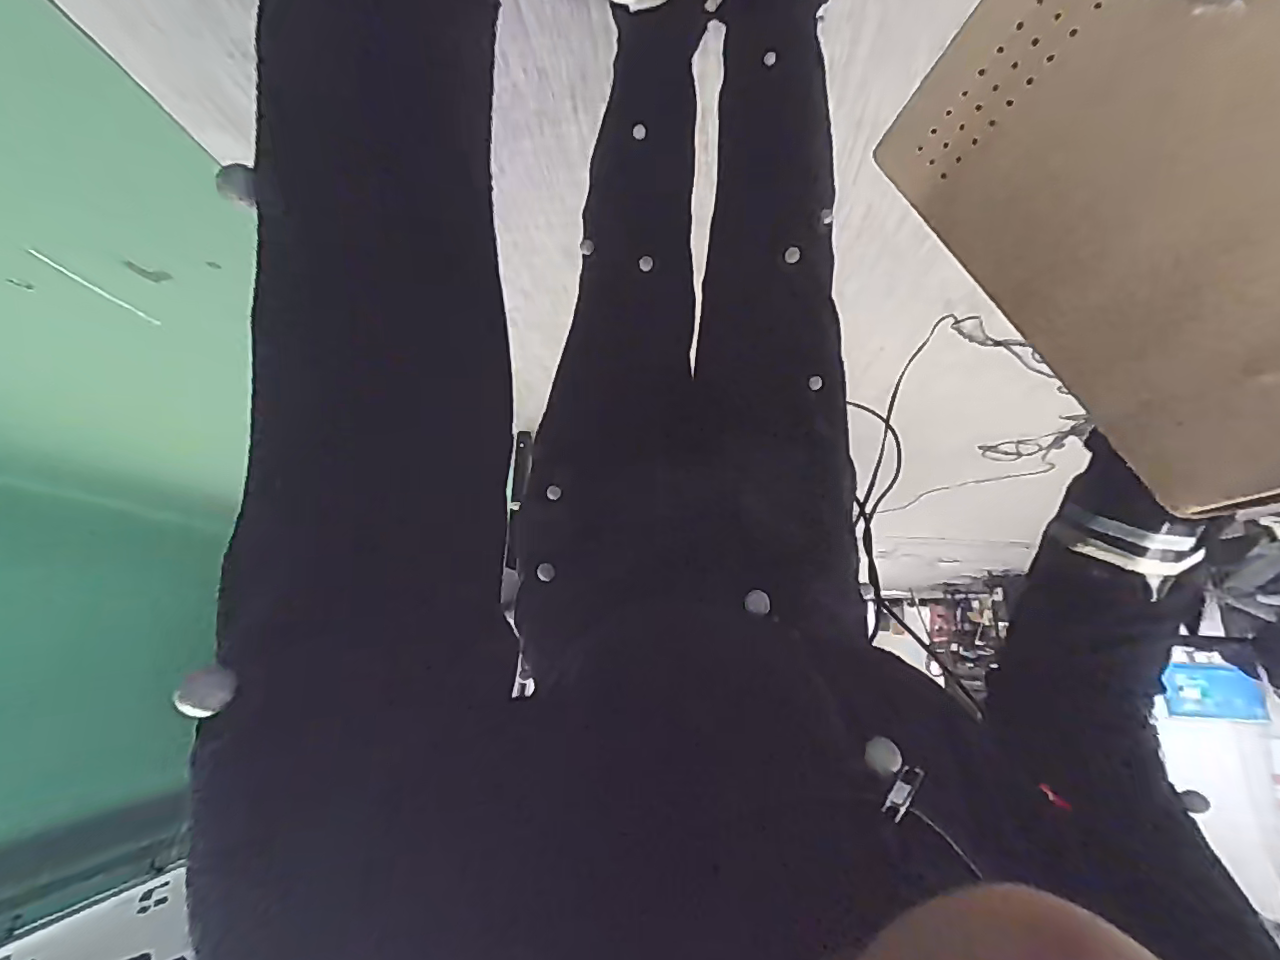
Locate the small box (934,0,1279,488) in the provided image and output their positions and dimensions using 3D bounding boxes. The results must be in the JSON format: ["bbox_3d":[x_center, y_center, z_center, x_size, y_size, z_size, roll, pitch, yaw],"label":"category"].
[{"bbox_3d":[0.215,-0.127,0.139,0.168,0.176,0.179,-32,172,-22],"label":"small box"}]
